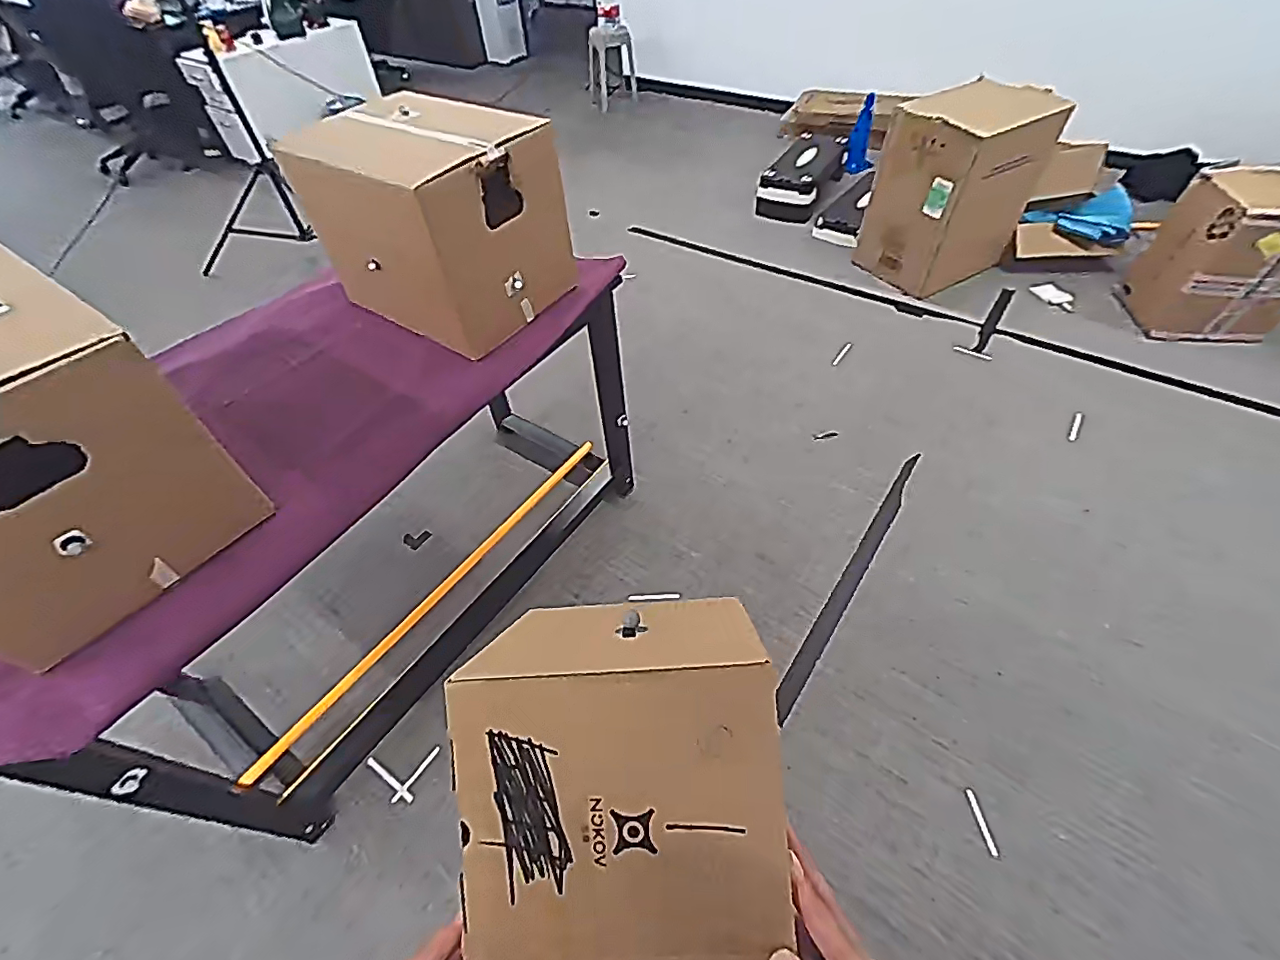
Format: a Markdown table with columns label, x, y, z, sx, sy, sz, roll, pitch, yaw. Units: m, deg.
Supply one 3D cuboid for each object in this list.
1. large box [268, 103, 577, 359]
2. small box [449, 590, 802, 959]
| label | x | y | z | sx | sy | sz | roll | pitch | yaw |
| --- | --- | --- | --- | --- | --- | --- | --- | --- | --- |
| large box | -0.388 | -0.488 | 1.047 | 0.408 | 0.320 | 0.320 | 26 | 56 | 24 |
| small box | -0.005 | 0.173 | 0.359 | 0.179 | 0.176 | 0.168 | -5 | 89 | 3 |
